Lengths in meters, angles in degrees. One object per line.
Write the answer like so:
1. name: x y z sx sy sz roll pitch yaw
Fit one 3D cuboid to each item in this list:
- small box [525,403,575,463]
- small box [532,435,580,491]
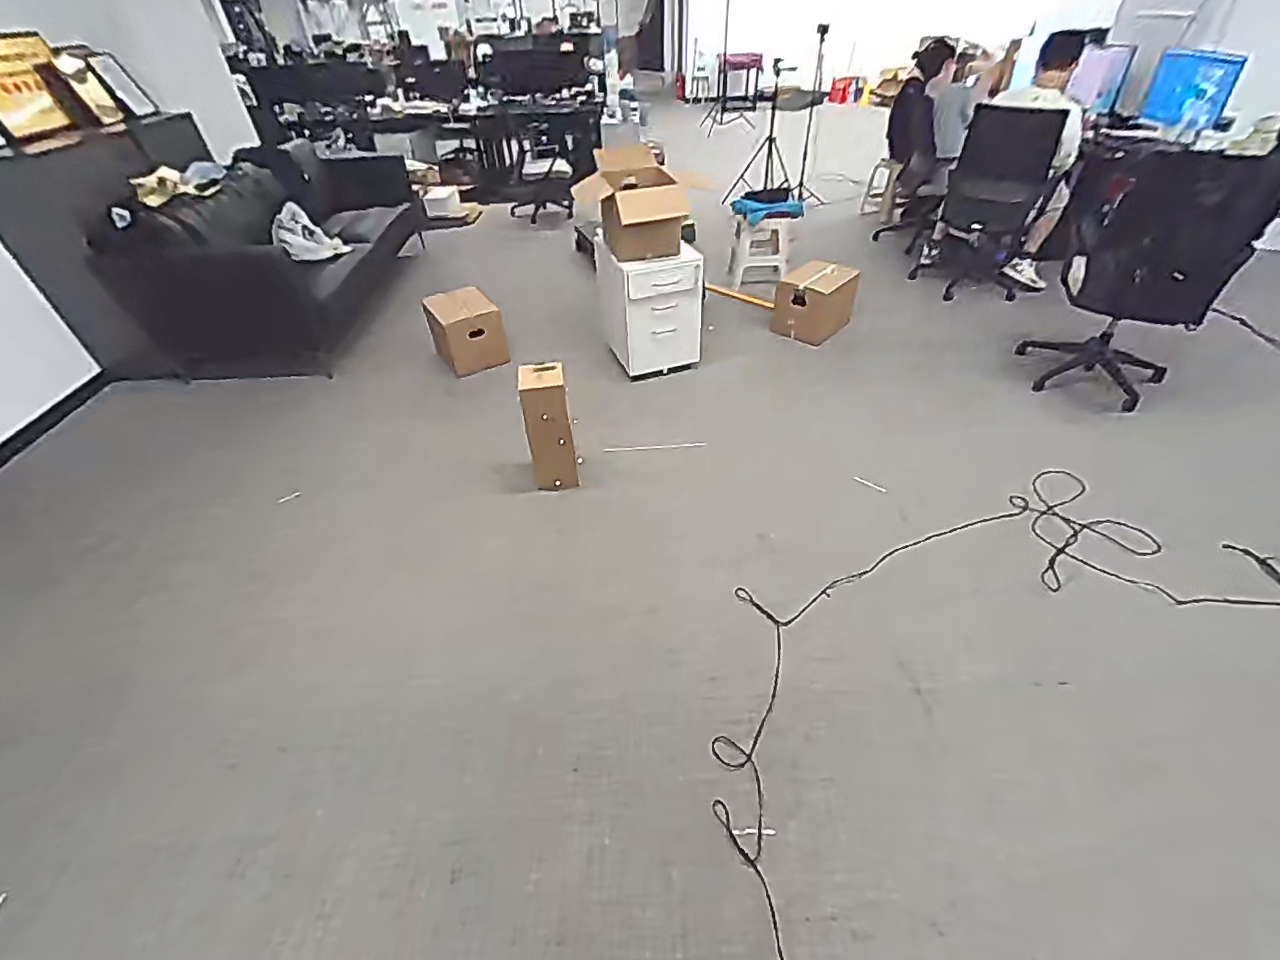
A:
1. small box: -0.353 -0.186 2.158 0.179 0.176 0.168 -7 40 -2
2. small box: -0.346 -0.070 2.274 0.179 0.176 0.168 -4 41 -1
